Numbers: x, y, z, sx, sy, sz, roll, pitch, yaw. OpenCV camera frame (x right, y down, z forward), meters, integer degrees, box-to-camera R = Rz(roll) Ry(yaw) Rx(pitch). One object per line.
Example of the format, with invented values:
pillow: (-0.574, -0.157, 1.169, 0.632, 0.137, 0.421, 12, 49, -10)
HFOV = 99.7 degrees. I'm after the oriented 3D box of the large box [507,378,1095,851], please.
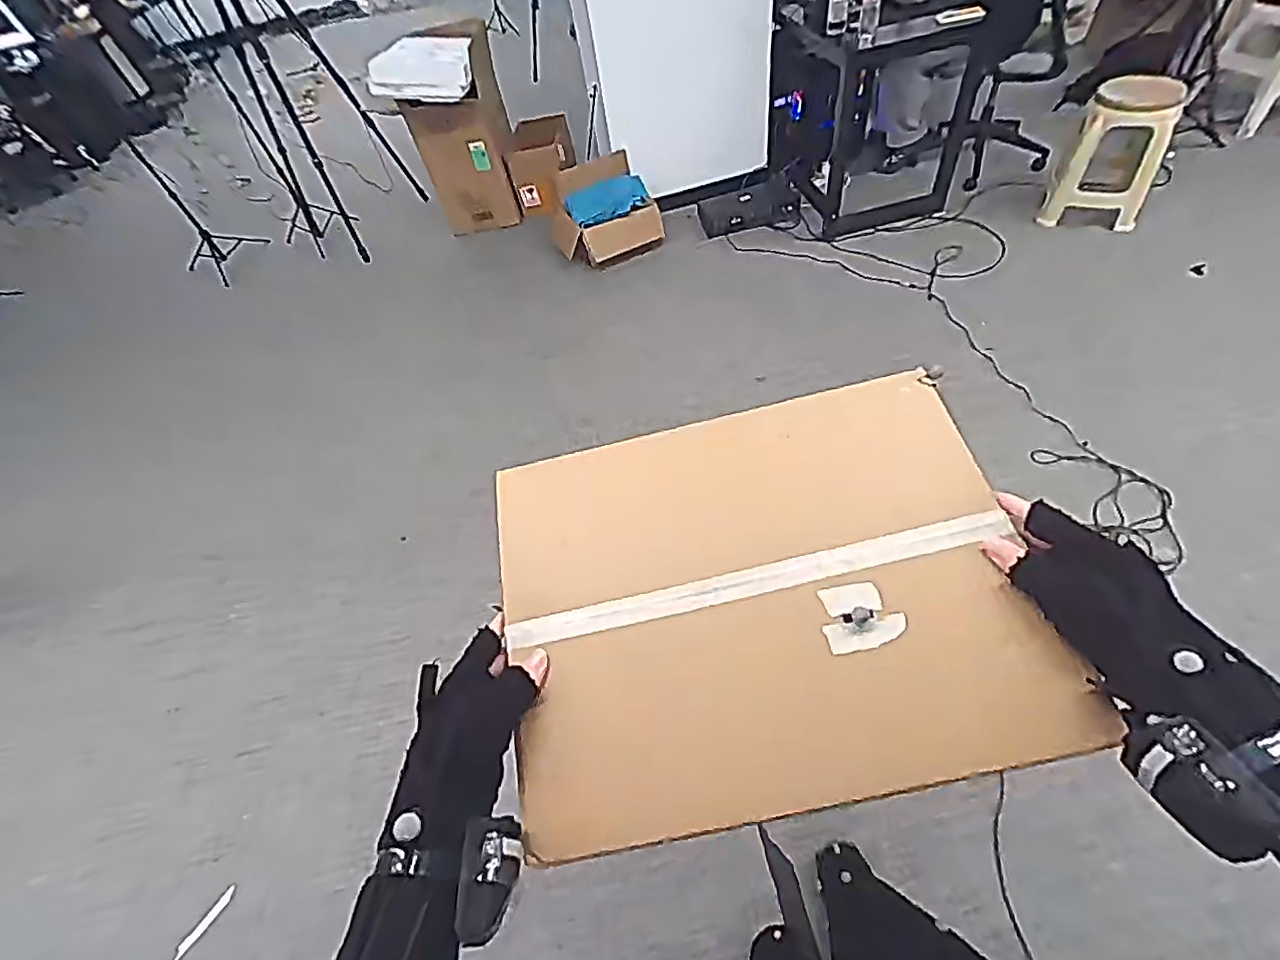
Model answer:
large box: (0.113, 0.151, 0.575, 0.408, 0.320, 0.320, -14, 62, 2)
